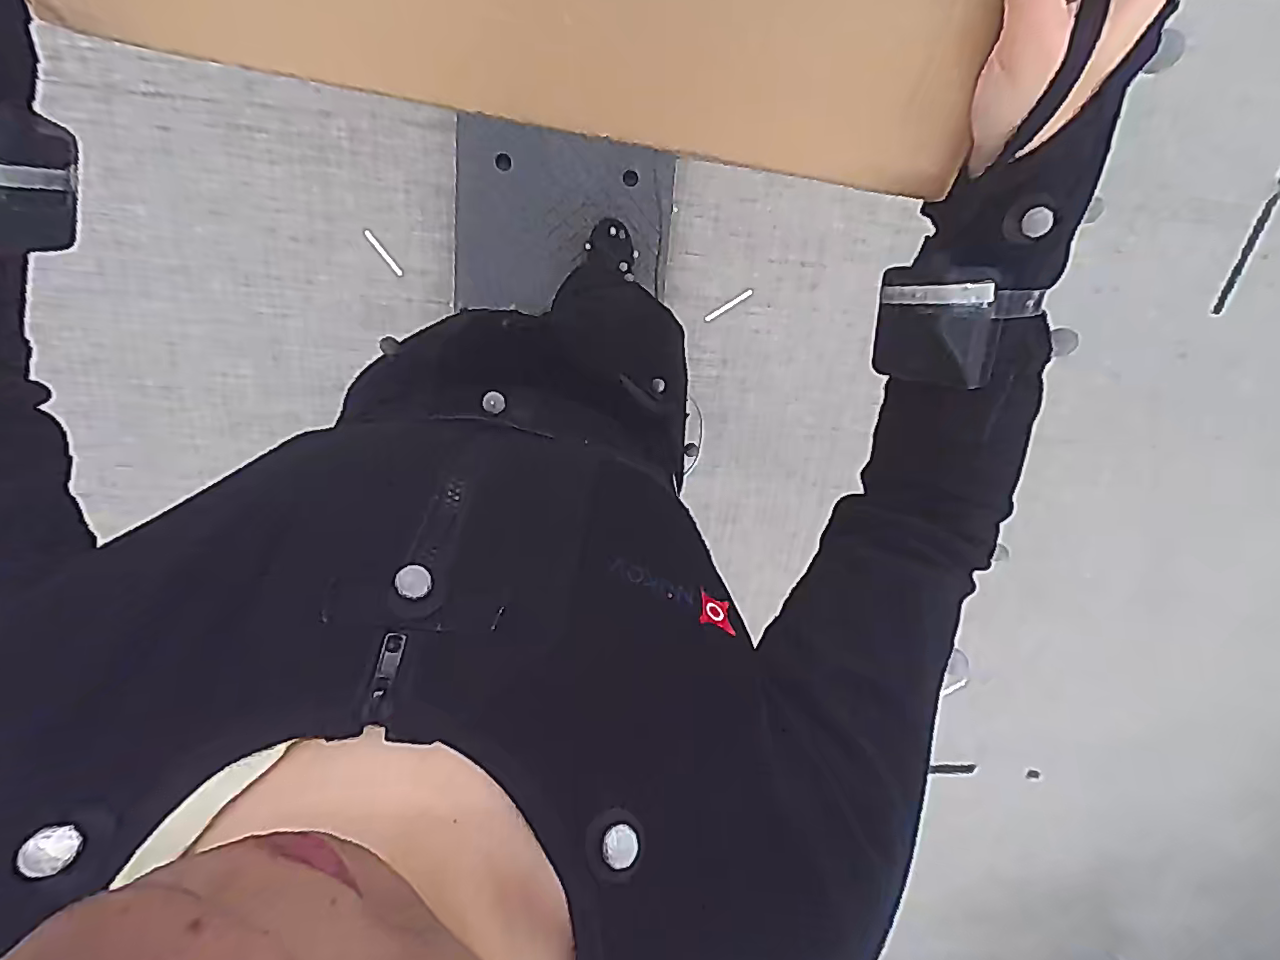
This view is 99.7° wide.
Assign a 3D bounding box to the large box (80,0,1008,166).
[{"bbox_3d":[-0.027,-0.390,0.277,0.408,0.320,0.320,5,129,-9],"label":"large box"}]
